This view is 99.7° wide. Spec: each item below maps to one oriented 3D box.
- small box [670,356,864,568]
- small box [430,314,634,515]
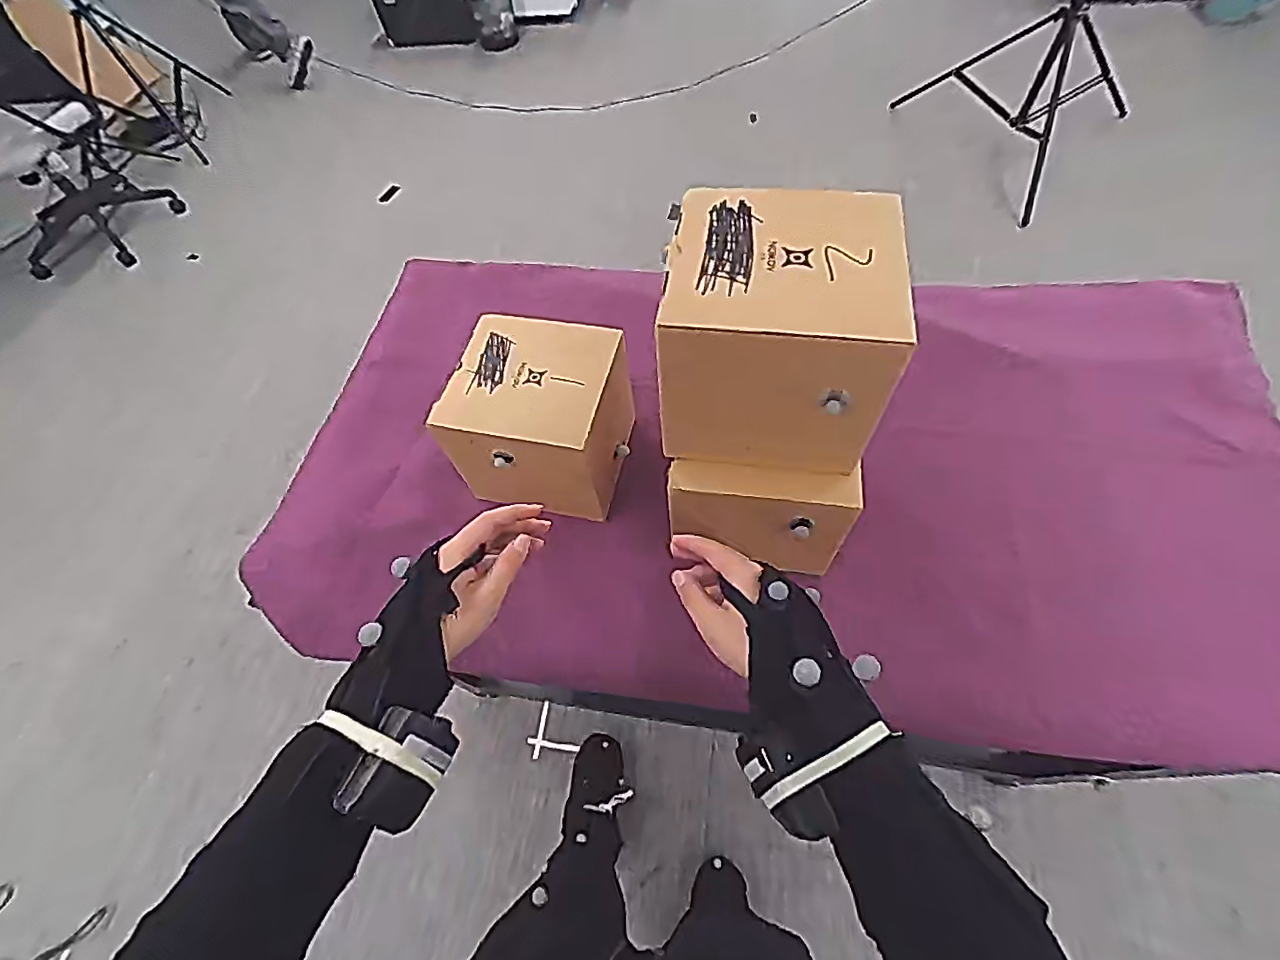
[{"bbox_3d":[0.133,-0.013,0.598,0.179,0.176,0.168,6,59,9],"label":"small box"},{"bbox_3d":[-0.113,-0.074,0.655,0.179,0.176,0.168,10,61,10],"label":"small box"}]
